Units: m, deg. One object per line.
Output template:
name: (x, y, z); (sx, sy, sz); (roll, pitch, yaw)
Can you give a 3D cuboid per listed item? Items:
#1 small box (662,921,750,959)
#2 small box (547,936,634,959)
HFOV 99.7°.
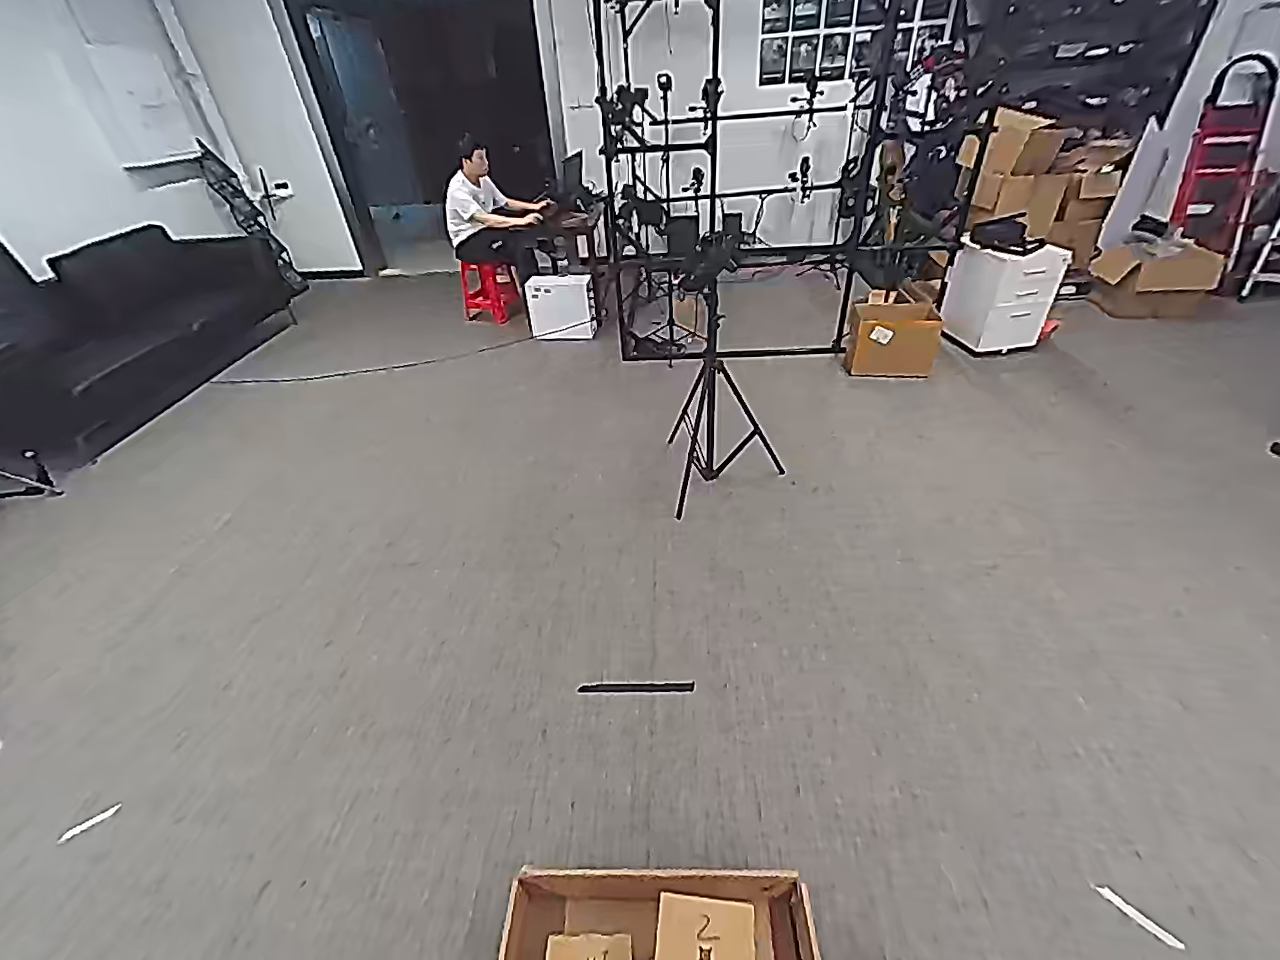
small box: (0.124, 0.984, 1.031); (0.168, 0.176, 0.179); (0, 38, 8)
small box: (-0.092, 0.999, 1.025); (0.168, 0.176, 0.179); (-1, 37, 0)
